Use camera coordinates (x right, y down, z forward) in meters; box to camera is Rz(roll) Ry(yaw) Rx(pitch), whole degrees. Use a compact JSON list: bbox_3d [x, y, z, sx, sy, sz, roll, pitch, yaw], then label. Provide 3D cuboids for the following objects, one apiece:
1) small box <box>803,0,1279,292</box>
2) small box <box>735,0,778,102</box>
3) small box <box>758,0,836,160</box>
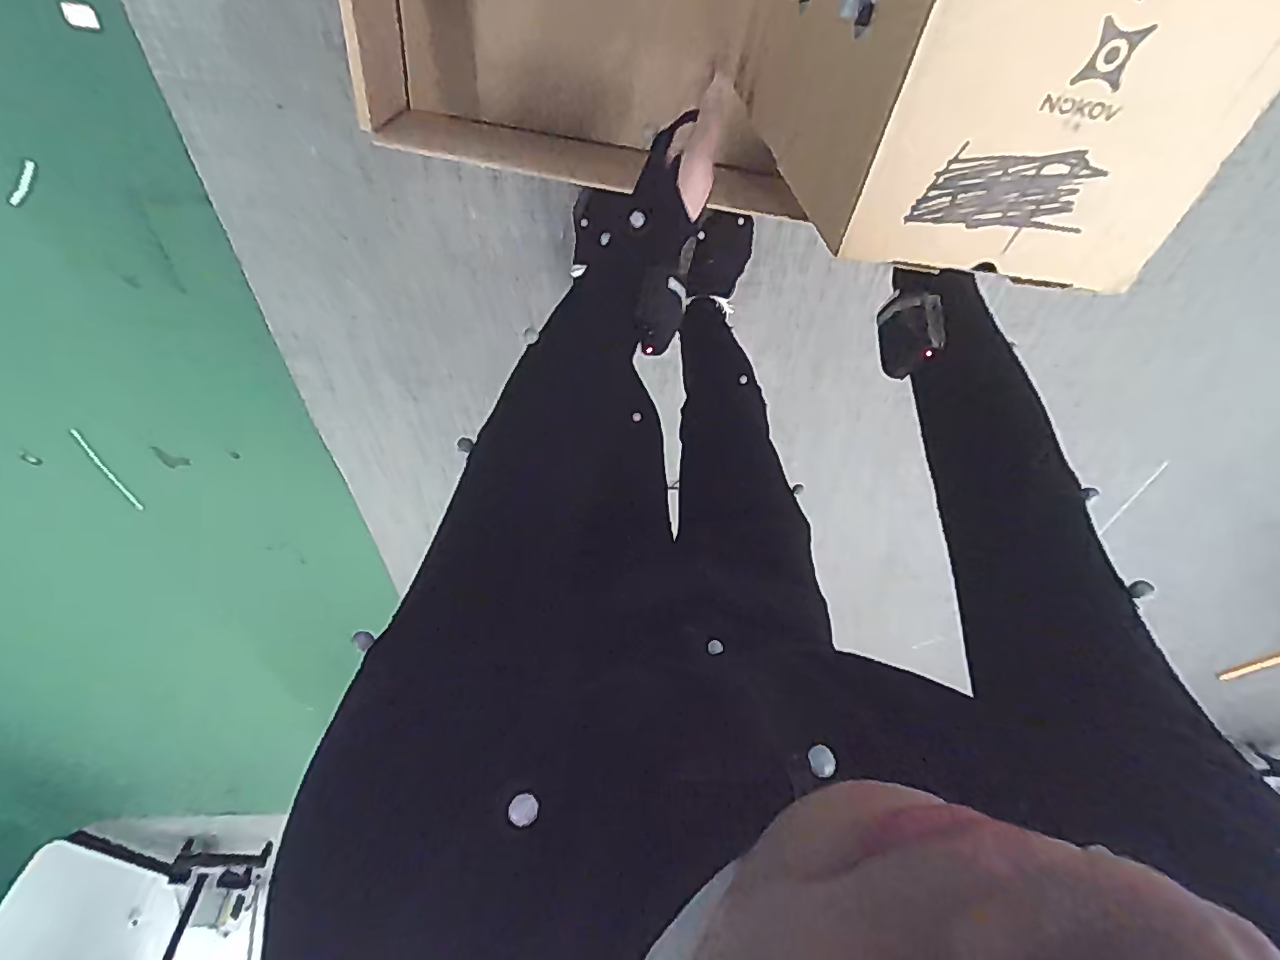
[{"bbox_3d":[0.199,-0.226,0.284,0.168,0.176,0.179,5,133,-6],"label":"small box"},{"bbox_3d":[0.195,-0.460,0.511,0.168,0.176,0.179,5,133,-6],"label":"small box"},{"bbox_3d":[0.197,-0.344,0.398,0.168,0.176,0.179,5,135,-6],"label":"small box"}]
